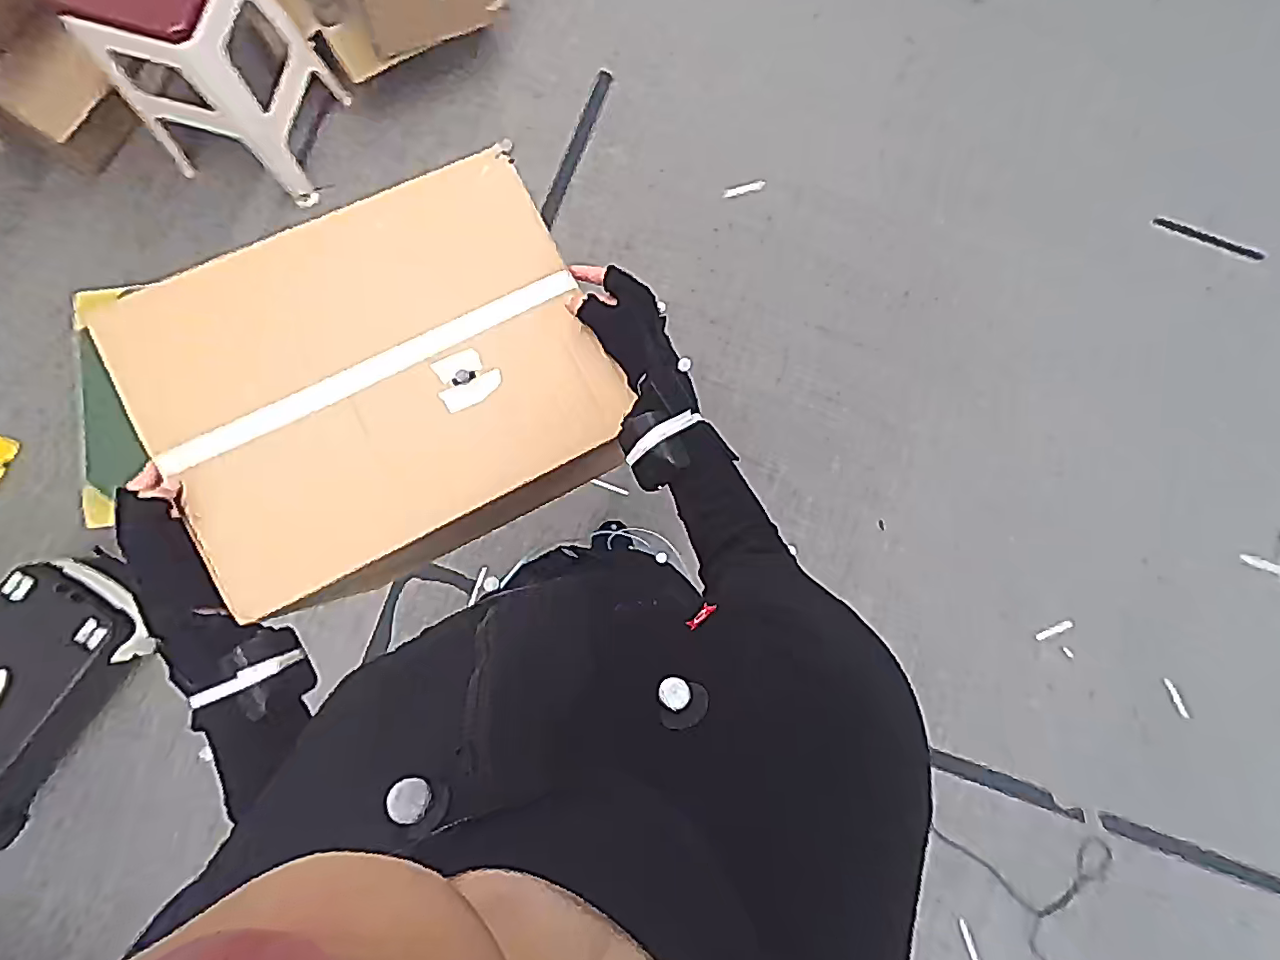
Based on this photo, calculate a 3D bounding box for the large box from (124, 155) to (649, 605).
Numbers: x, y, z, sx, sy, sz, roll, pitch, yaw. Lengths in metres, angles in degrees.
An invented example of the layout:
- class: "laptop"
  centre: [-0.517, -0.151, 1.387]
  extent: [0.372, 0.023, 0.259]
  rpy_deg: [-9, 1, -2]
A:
- class: "large box"
  centre: [-0.249, -0.093, 0.662]
  extent: [0.408, 0.320, 0.320]
  rpy_deg: [-26, 89, -9]
